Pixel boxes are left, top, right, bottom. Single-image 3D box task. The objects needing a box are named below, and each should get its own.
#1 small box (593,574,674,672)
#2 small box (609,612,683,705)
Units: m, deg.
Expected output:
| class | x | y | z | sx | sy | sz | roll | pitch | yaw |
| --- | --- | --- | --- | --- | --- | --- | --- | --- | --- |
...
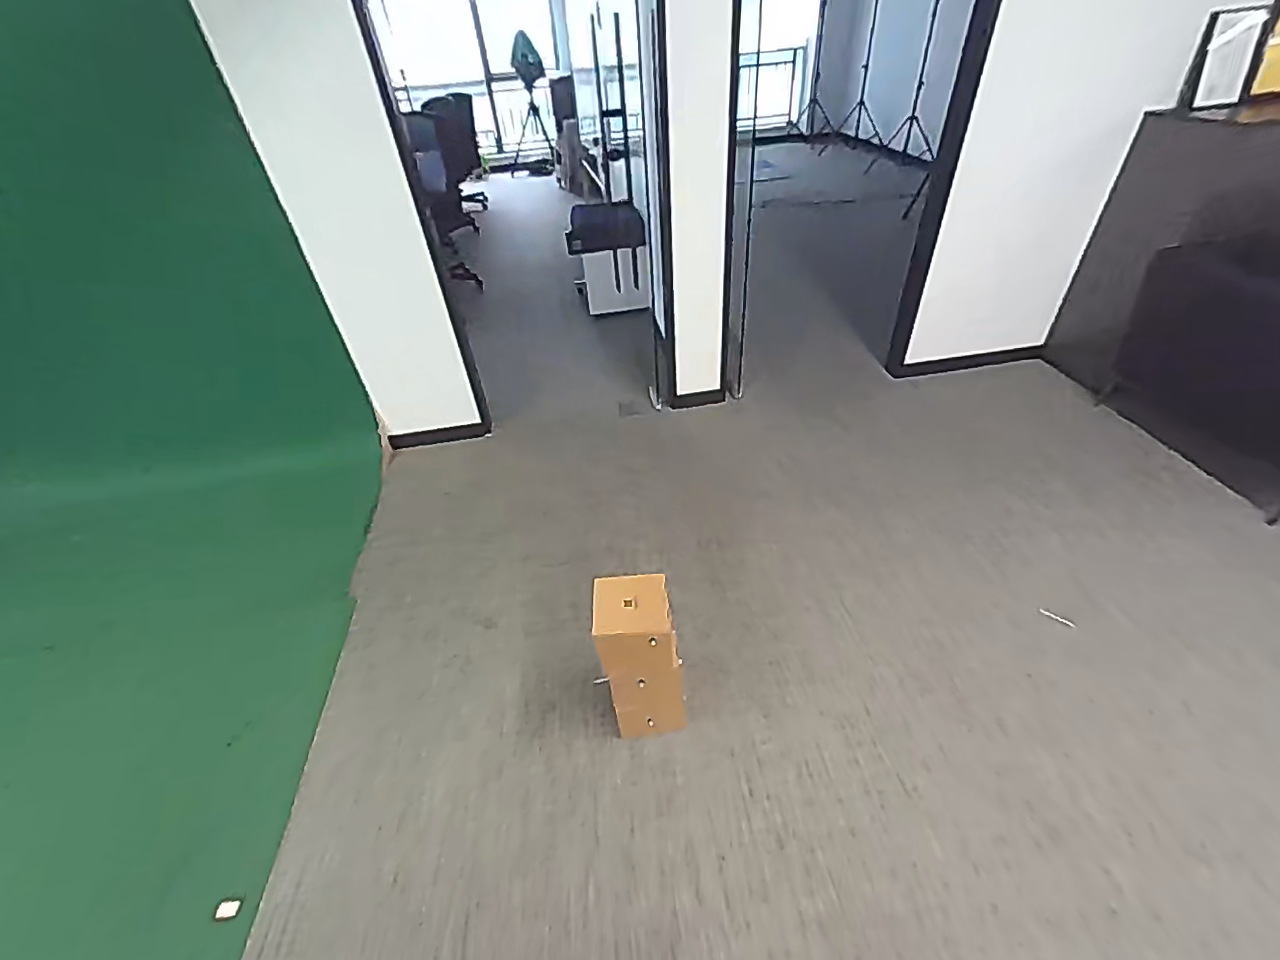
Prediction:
| class | x | y | z | sx | sy | sz | roll | pitch | yaw |
| --- | --- | --- | --- | --- | --- | --- | --- | --- | --- |
| small box | -0.013 | 0.351 | 1.314 | 0.179 | 0.176 | 0.168 | -4 | 40 | 1 |
| small box | 0.013 | 0.473 | 1.420 | 0.179 | 0.176 | 0.168 | -7 | 41 | -1 |
